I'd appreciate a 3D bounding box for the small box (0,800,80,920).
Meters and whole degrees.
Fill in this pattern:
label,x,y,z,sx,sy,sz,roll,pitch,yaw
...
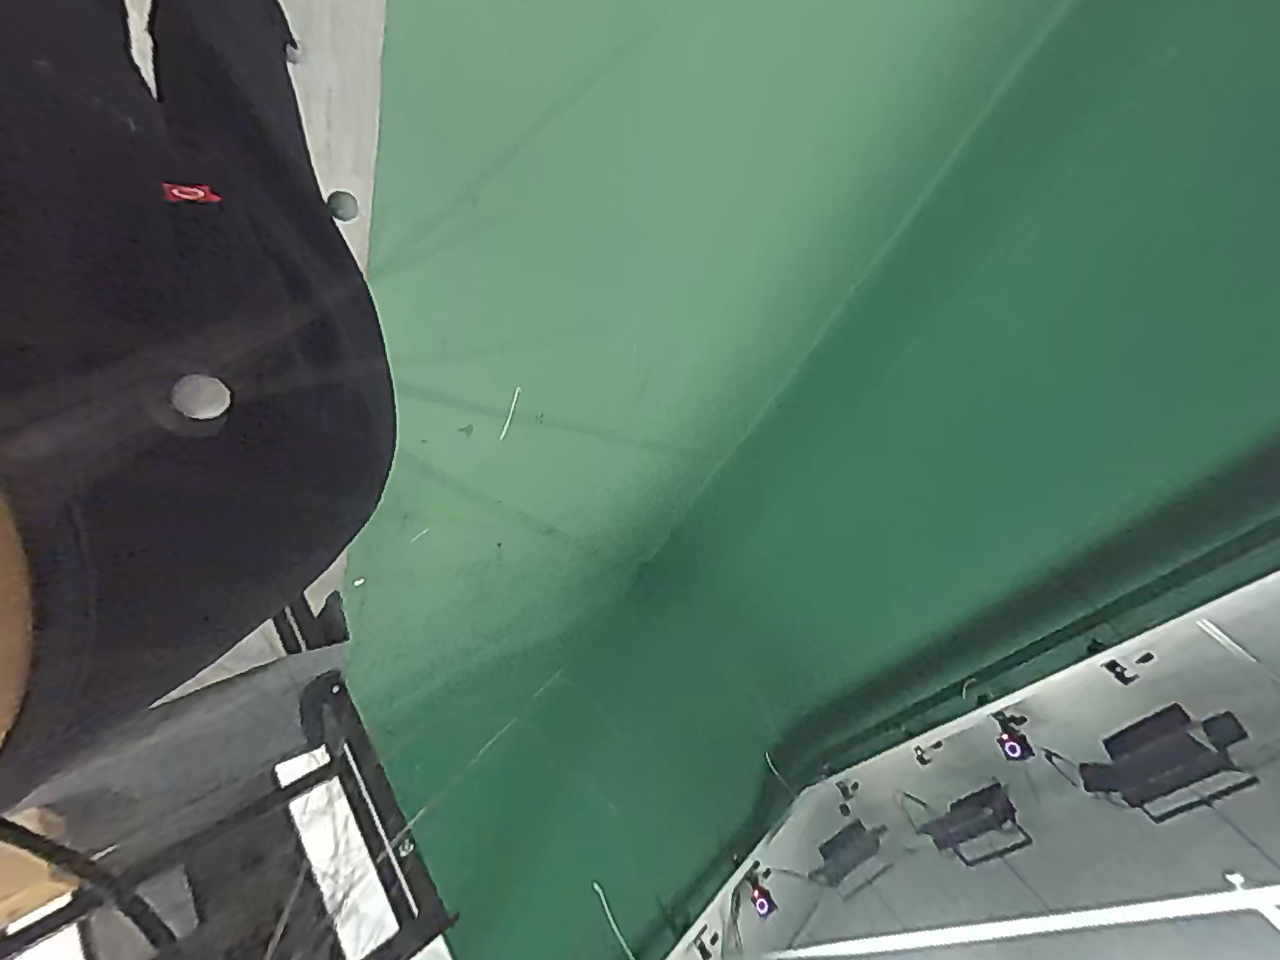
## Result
label,x,y,z,sx,sy,sz,roll,pitch,yaw
small box,-1.370,0.831,1.171,0.168,0.176,0.179,-22,154,-40
